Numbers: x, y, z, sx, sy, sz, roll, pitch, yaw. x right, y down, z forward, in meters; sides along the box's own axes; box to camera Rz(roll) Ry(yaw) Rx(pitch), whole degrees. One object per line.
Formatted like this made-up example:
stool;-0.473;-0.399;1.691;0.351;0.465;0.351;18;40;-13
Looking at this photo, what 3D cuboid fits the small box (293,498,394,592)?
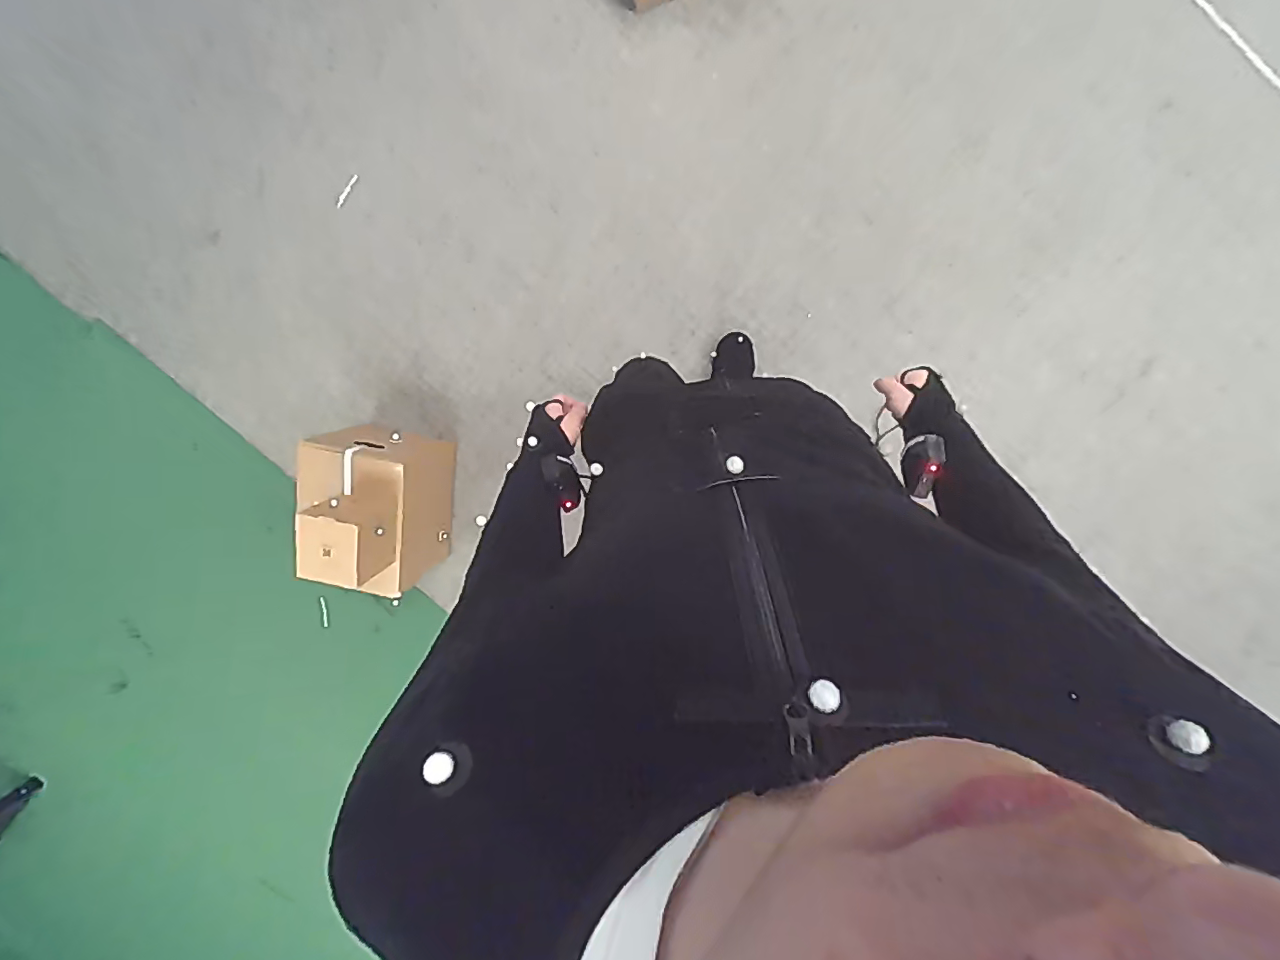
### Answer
small box;-0.754;0.159;1.389;0.168;0.176;0.179;11;106;5
